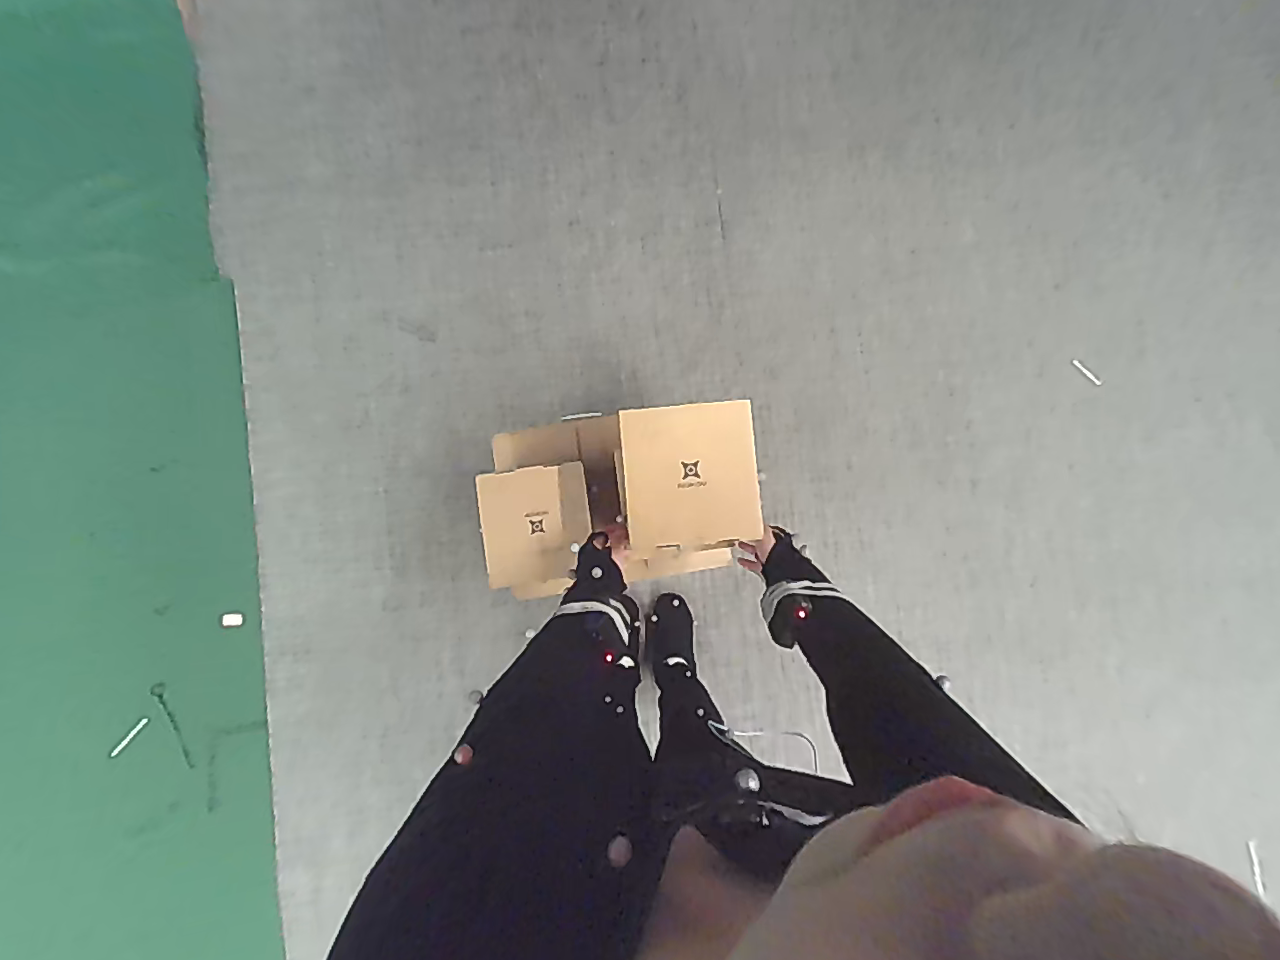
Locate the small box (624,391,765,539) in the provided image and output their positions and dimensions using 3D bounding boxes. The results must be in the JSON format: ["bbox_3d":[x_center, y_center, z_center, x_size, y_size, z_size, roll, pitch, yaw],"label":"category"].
[{"bbox_3d":[0.065,-0.013,0.743,0.168,0.176,0.179,-5,86,-1],"label":"small box"}]
